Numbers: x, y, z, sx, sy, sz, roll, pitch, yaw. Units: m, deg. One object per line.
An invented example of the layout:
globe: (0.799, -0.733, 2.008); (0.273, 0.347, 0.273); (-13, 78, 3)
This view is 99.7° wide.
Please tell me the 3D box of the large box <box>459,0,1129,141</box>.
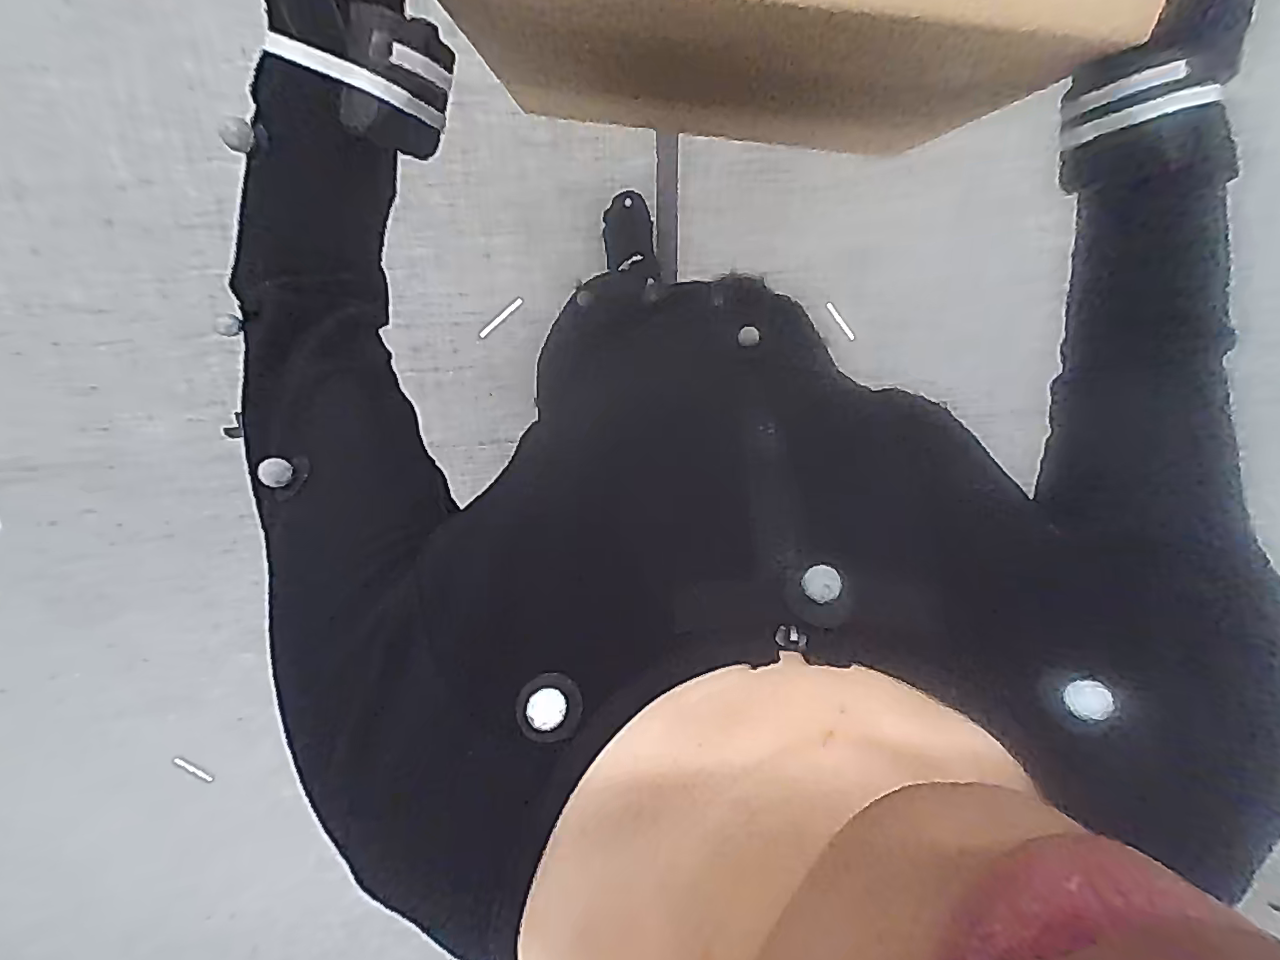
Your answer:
large box: (0.086, -0.467, 0.384); (0.408, 0.320, 0.320); (5, 111, -2)
